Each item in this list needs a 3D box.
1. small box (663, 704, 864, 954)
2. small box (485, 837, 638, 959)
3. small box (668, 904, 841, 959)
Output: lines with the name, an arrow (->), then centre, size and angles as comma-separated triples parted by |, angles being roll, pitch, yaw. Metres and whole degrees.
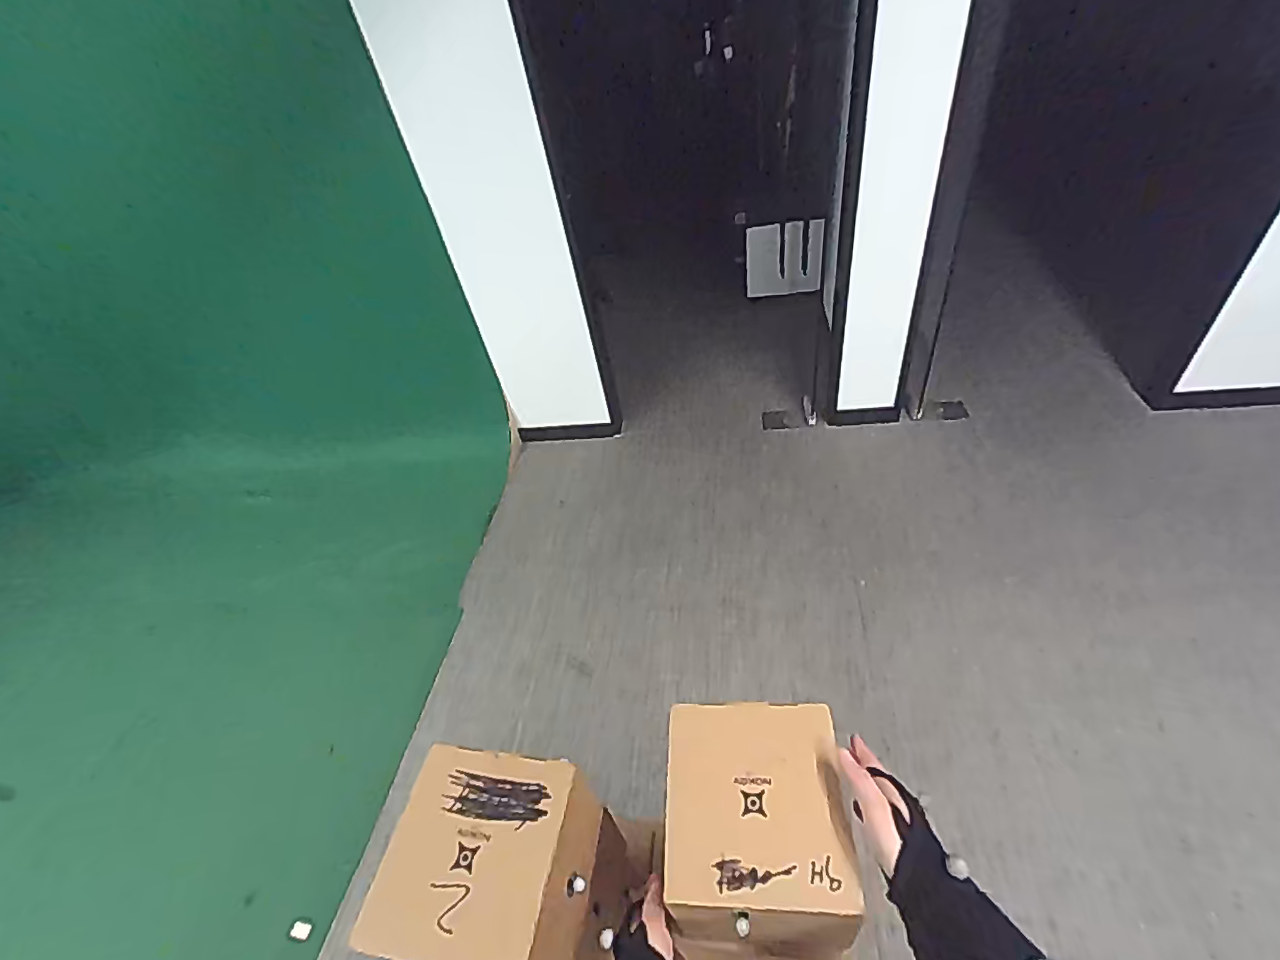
small box -> 0.120, 0.355, 0.557 | 0.168, 0.176, 0.179 | -4, 42, 11
small box -> -0.102, 0.647, 0.779 | 0.168, 0.176, 0.179 | 0, 43, 12
small box -> 0.138, 0.483, 0.658 | 0.179, 0.176, 0.168 | -3, 42, 13
